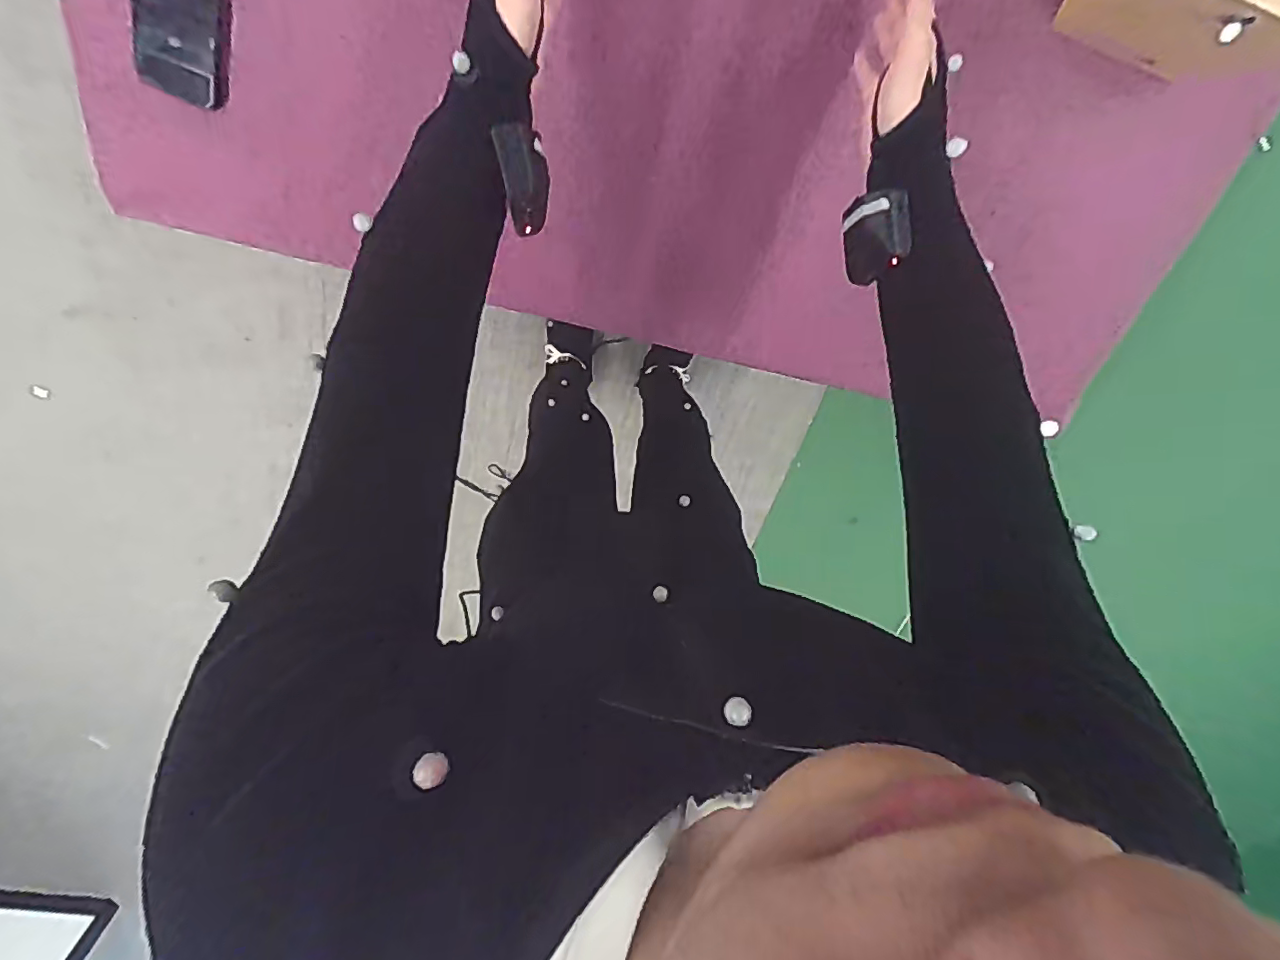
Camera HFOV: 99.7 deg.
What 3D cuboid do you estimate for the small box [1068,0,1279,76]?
[{"bbox_3d":[0.501,-0.455,0.422,0.168,0.176,0.179,14,119,-8],"label":"small box"}]
